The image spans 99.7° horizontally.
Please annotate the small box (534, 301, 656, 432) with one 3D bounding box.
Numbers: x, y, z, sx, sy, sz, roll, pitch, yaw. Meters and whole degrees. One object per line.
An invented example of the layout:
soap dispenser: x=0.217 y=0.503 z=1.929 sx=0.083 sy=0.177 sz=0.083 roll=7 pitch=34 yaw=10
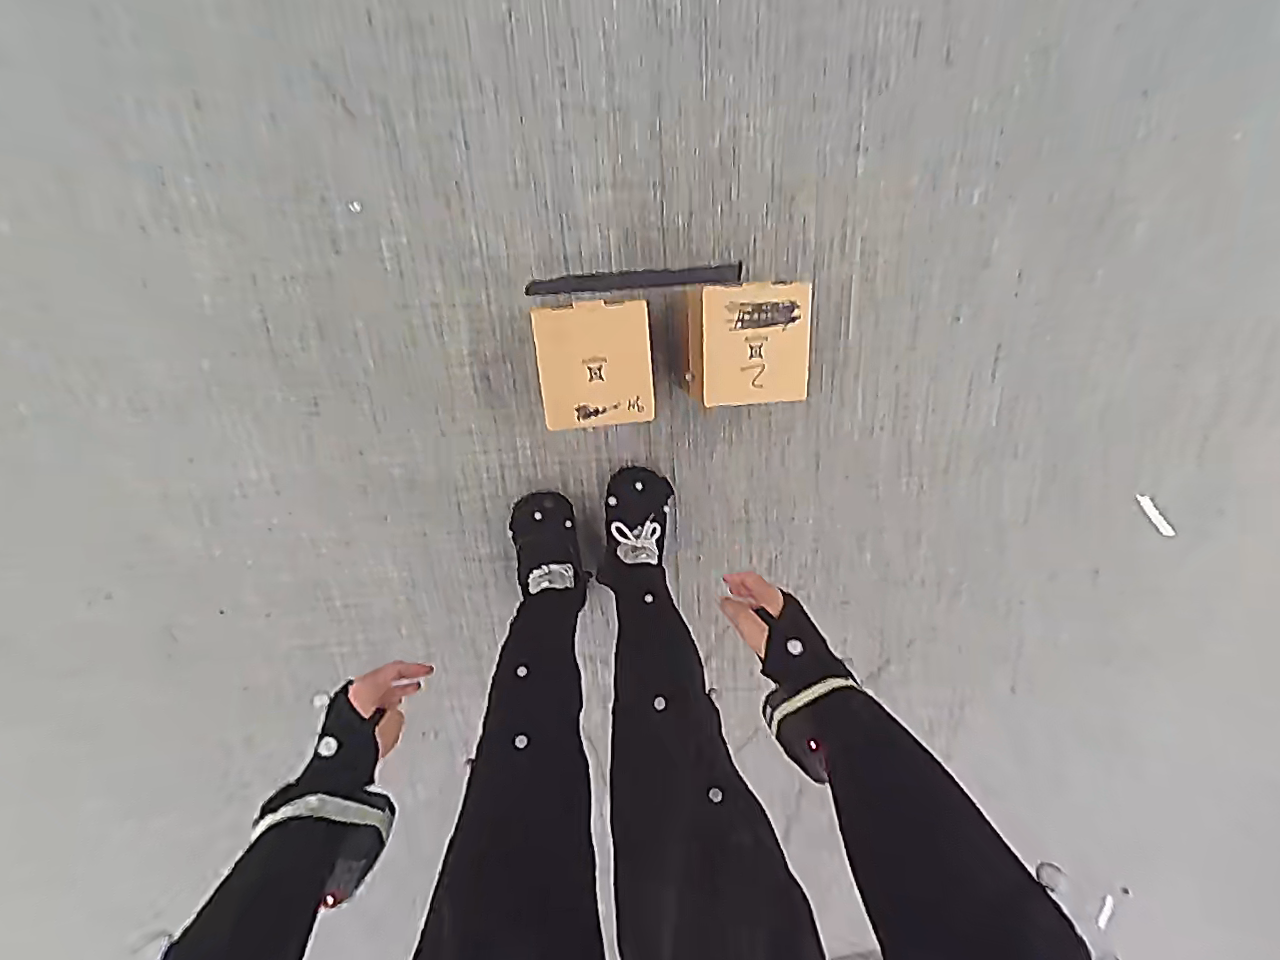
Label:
small box: x=-0.074 y=-0.186 z=0.859 sx=0.168 sy=0.176 sz=0.179 roll=-7 pitch=109 yaw=-6
